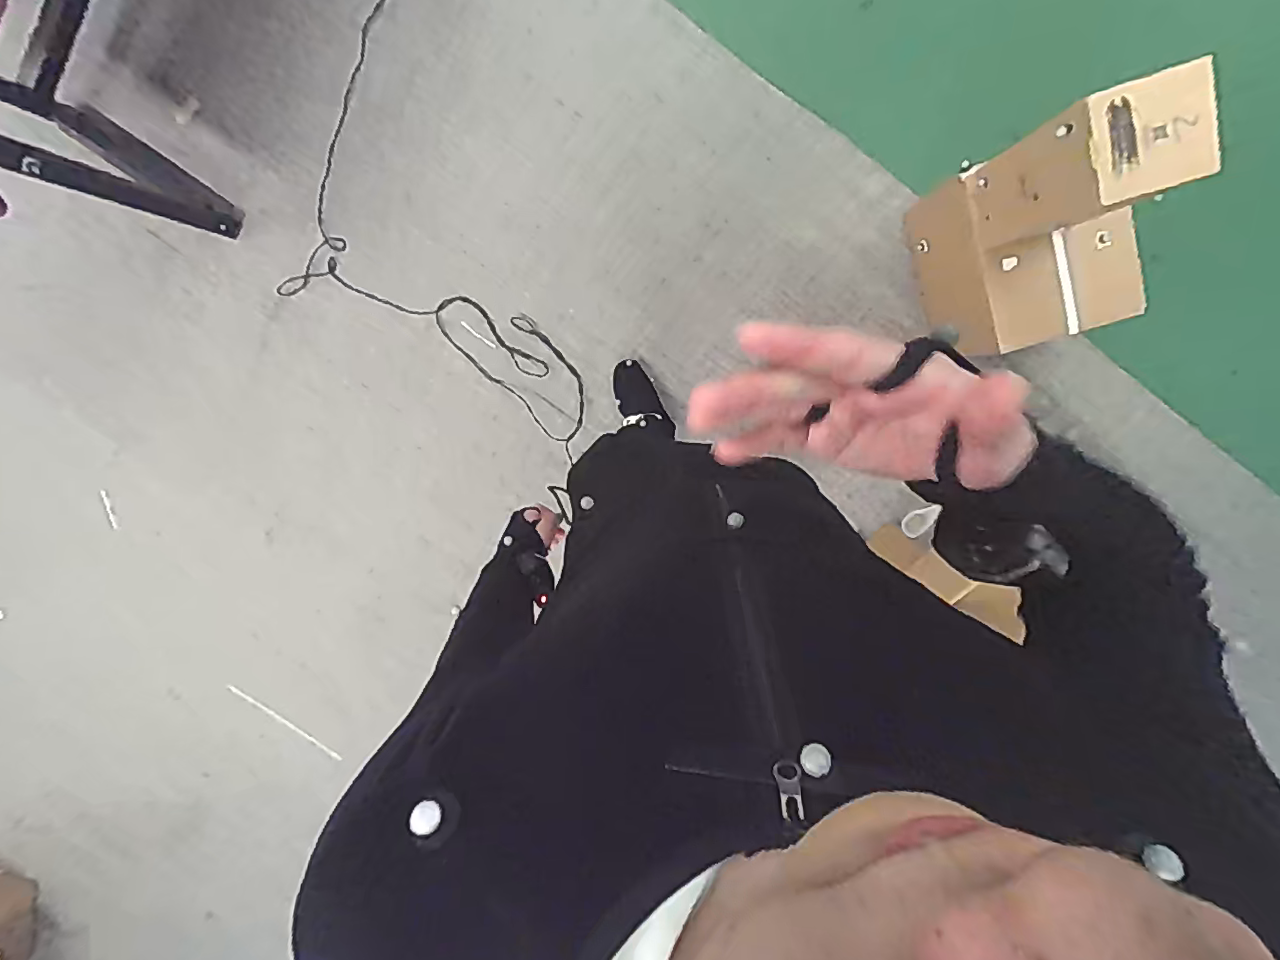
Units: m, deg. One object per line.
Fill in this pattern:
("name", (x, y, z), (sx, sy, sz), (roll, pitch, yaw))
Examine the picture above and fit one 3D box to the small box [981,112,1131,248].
("small box", (0.802, -0.574, 1.063), (0.179, 0.176, 0.168), (-14, 101, 6))
